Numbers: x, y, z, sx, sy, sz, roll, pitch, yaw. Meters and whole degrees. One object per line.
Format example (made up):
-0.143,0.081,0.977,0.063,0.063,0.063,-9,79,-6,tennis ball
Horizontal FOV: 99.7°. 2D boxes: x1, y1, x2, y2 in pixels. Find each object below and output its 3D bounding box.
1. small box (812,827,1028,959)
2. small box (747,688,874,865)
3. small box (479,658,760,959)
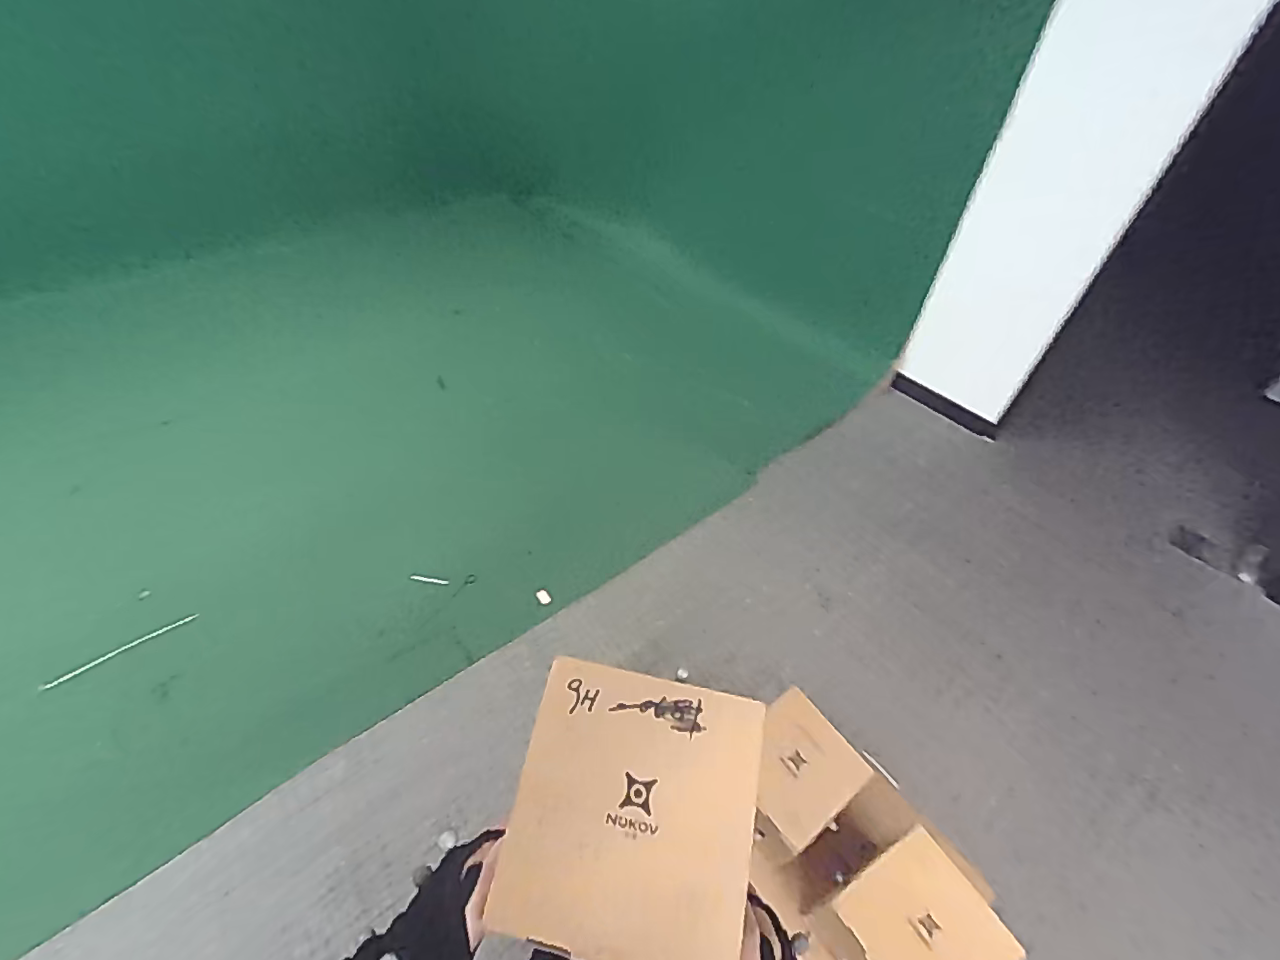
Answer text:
0.365,0.621,0.739,0.179,0.176,0.168,-24,51,-21,small box
0.234,0.479,0.872,0.179,0.176,0.168,-28,56,-24,small box
-0.006,0.261,0.442,0.168,0.176,0.179,10,64,5,small box
